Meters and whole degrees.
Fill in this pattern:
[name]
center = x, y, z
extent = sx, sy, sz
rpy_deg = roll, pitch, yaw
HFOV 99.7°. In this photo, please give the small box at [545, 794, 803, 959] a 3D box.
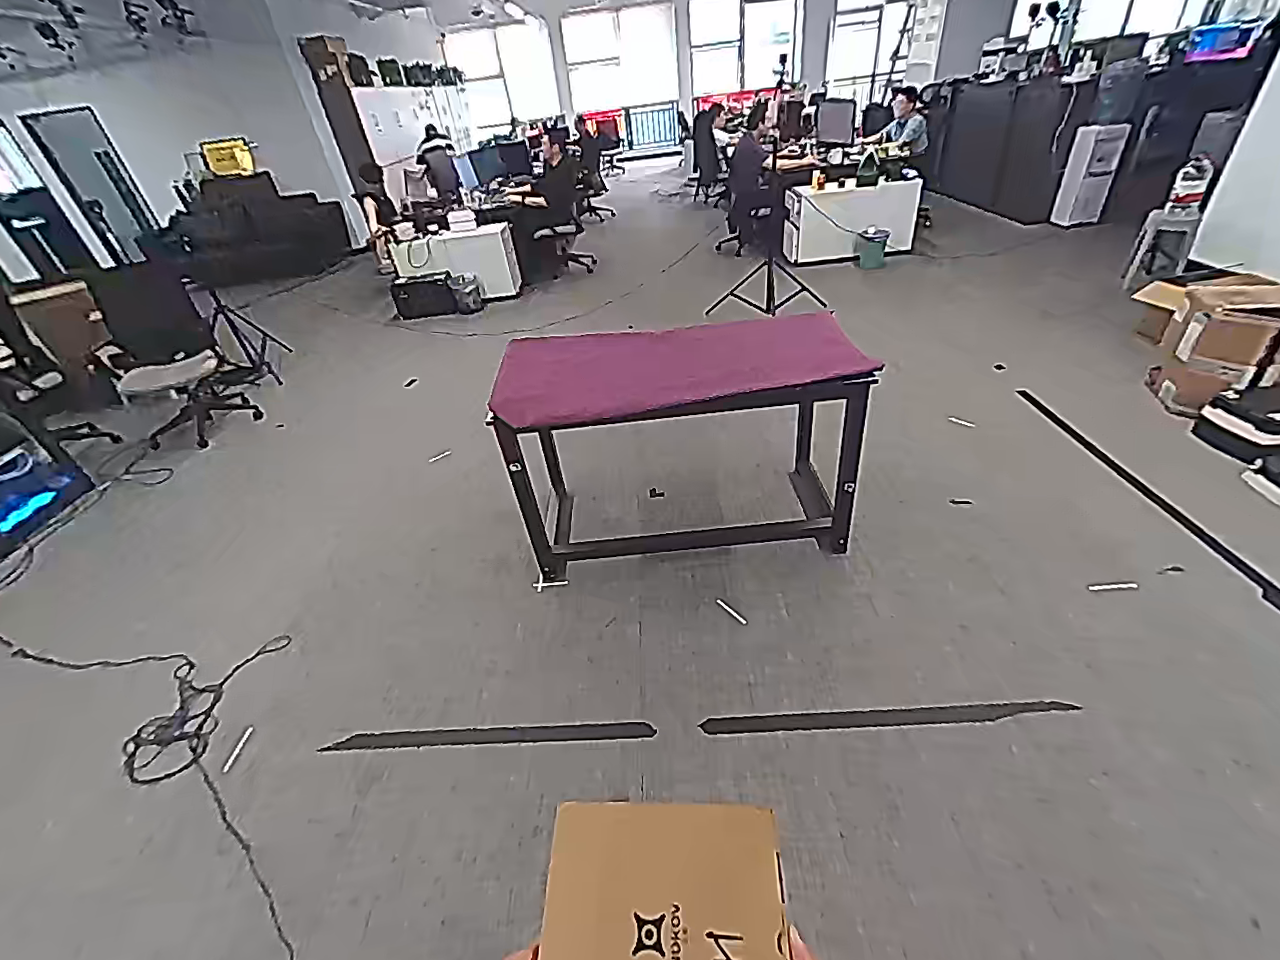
[small box]
center = 0.032, 0.364, 0.428
extent = 0.179, 0.176, 0.168
rpy_deg = -3, 47, 7
